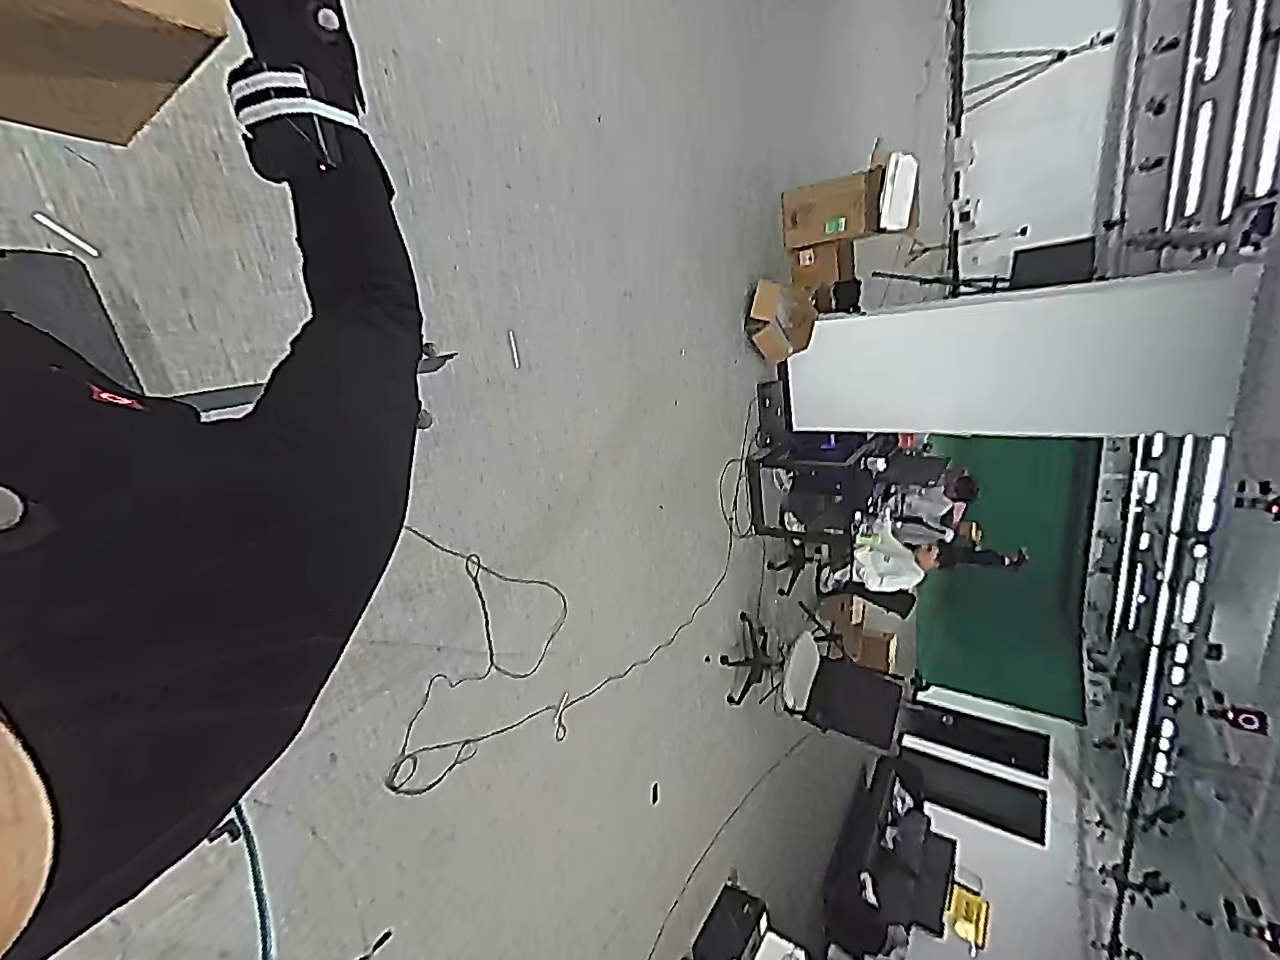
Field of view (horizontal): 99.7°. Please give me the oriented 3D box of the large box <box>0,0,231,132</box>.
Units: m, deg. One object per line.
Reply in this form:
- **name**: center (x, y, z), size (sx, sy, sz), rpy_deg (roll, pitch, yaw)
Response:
- **large box**: center (-0.515, -0.433, 0.266), size (0.408, 0.320, 0.320), rpy_deg (-16, 112, -51)
